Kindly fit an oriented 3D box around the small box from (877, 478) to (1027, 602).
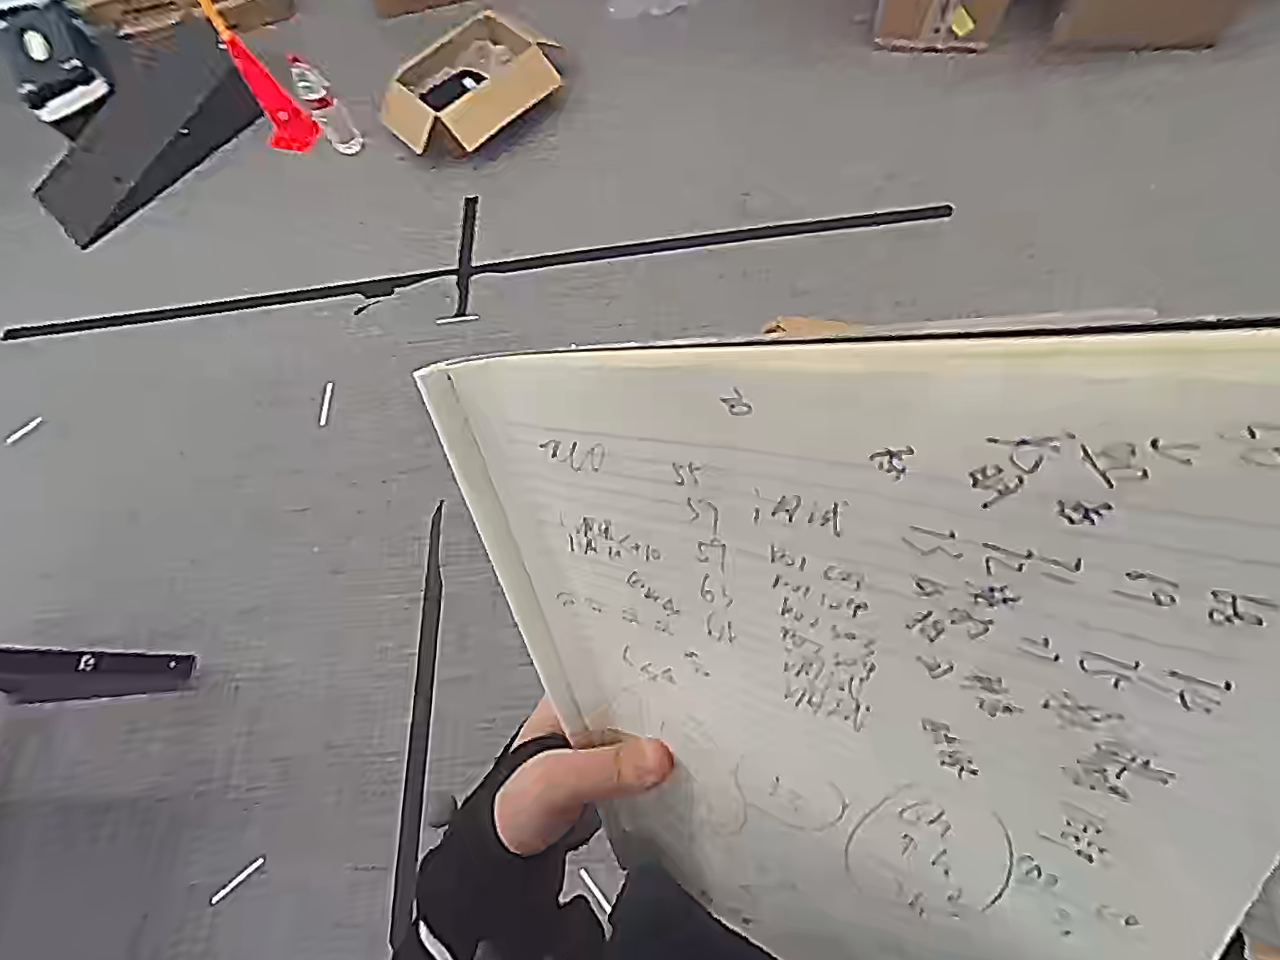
[{"bbox_3d":[0.627,0.131,1.114,0.168,0.176,0.179,-39,73,-9],"label":"small box"}]
